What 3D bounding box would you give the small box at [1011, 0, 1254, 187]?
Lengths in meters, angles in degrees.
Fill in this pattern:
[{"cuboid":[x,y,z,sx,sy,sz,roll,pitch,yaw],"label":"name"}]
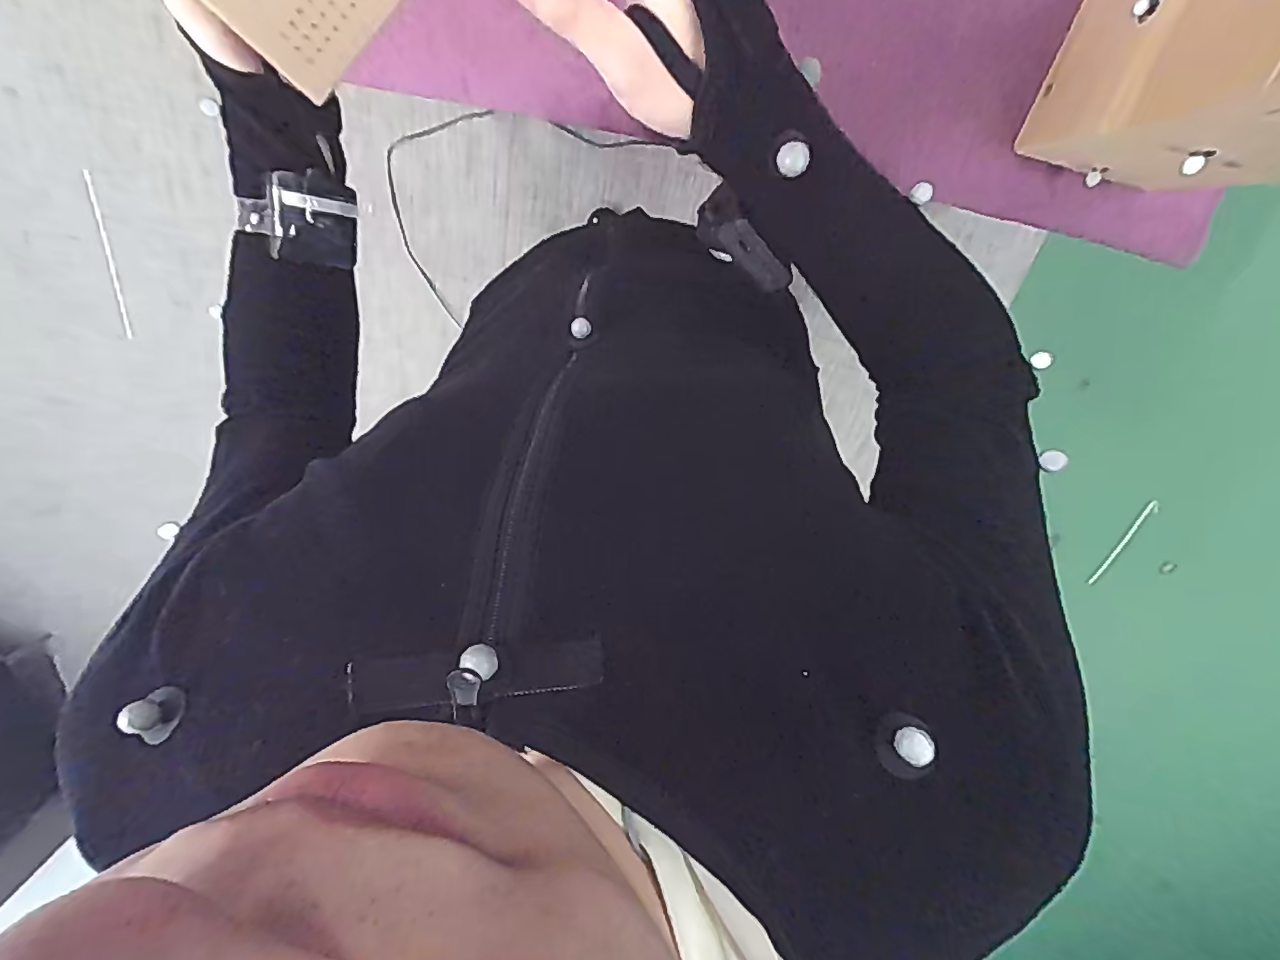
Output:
[{"cuboid":[0.540,-0.413,0.553,0.179,0.176,0.168,16,117,-1],"label":"small box"}]
